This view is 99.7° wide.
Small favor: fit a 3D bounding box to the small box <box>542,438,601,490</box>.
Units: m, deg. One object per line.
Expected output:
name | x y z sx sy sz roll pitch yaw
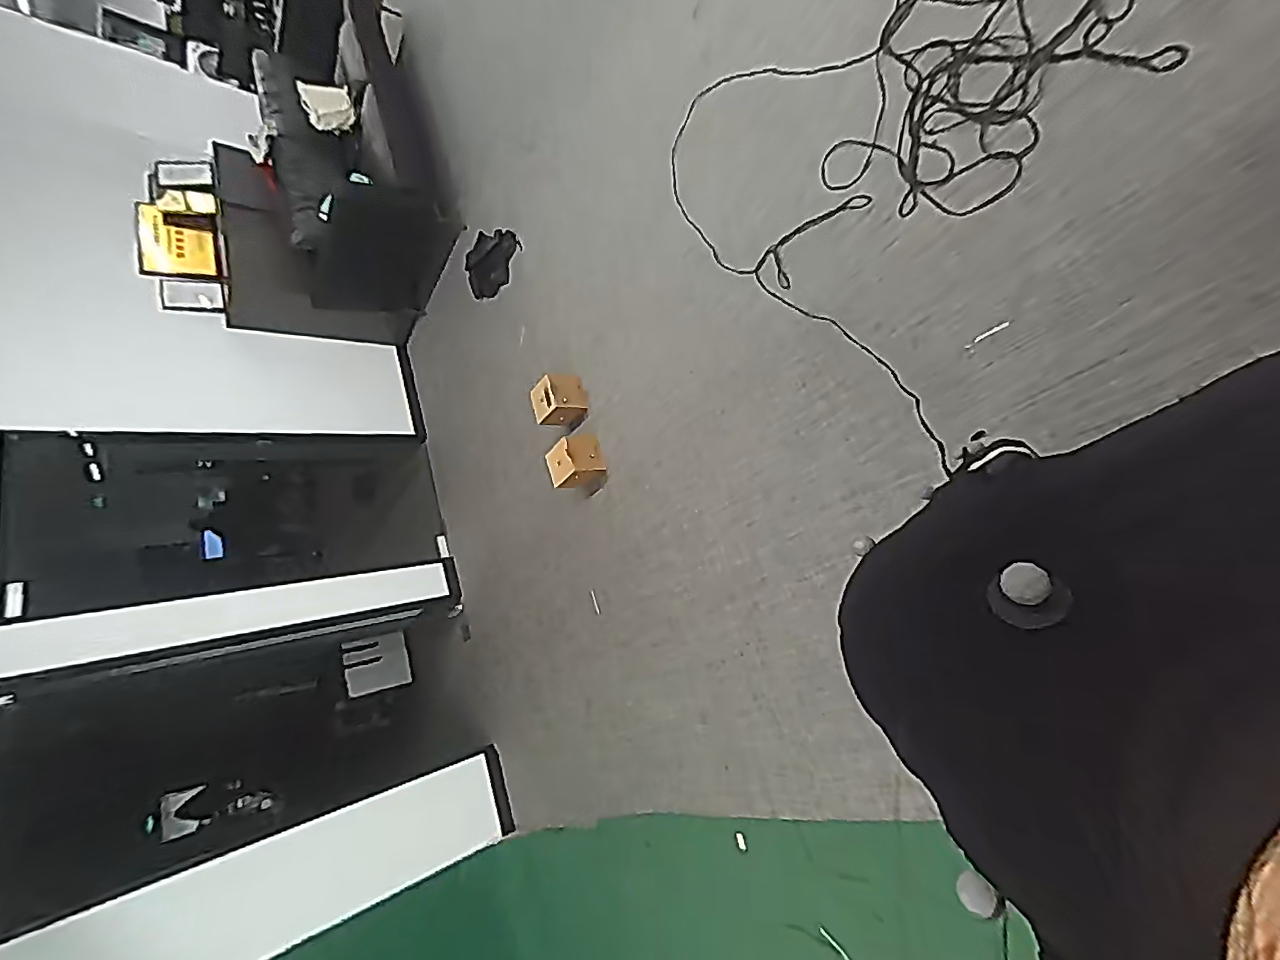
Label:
small box | -0.294 -0.067 2.321 0.179 0.176 0.168 -38 64 42
